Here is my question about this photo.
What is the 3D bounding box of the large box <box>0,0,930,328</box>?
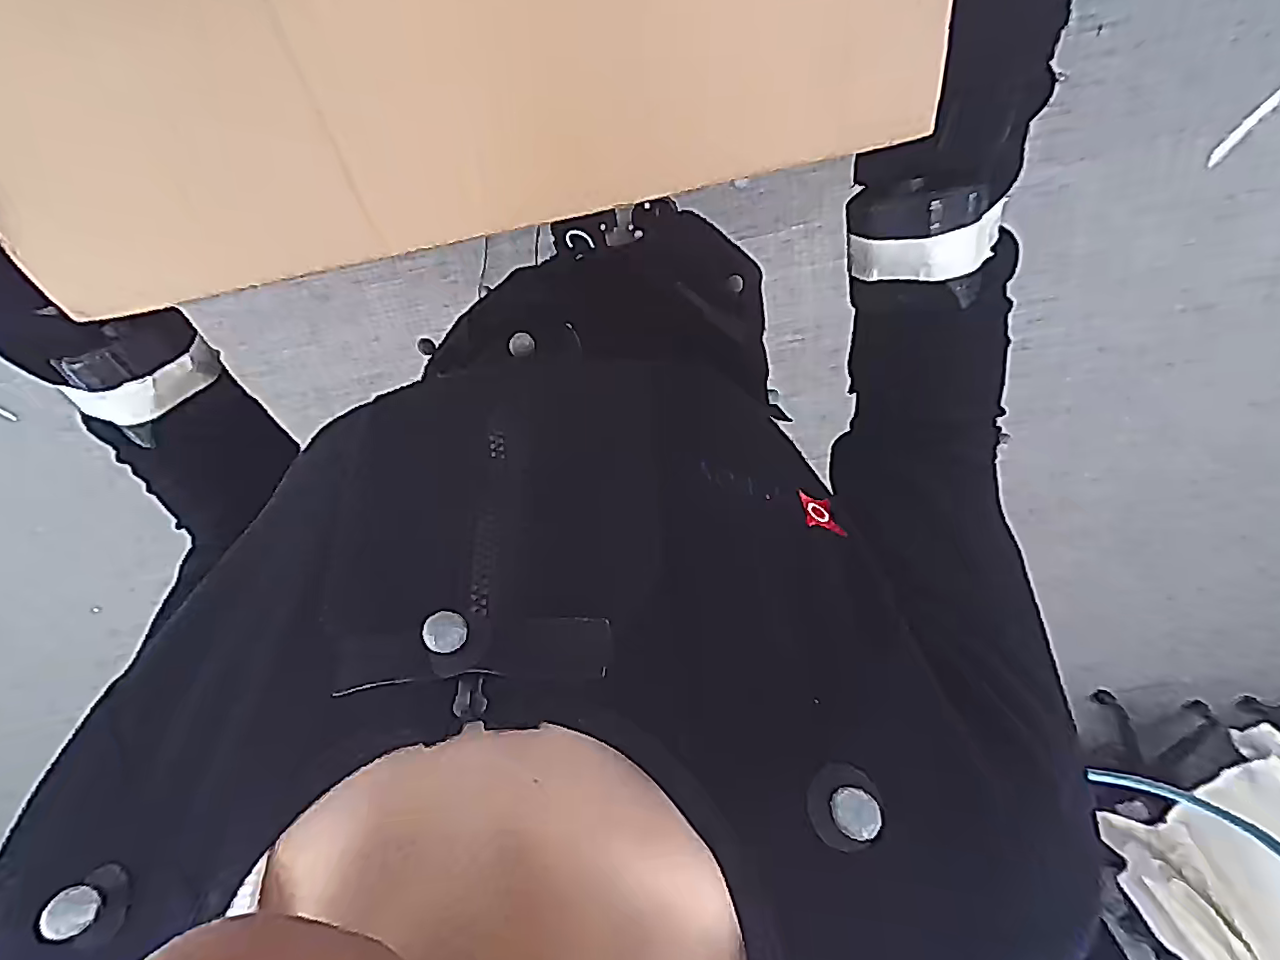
[{"bbox_3d":[-0.108,-0.322,0.272,0.408,0.320,0.320,-9,129,6],"label":"large box"}]
